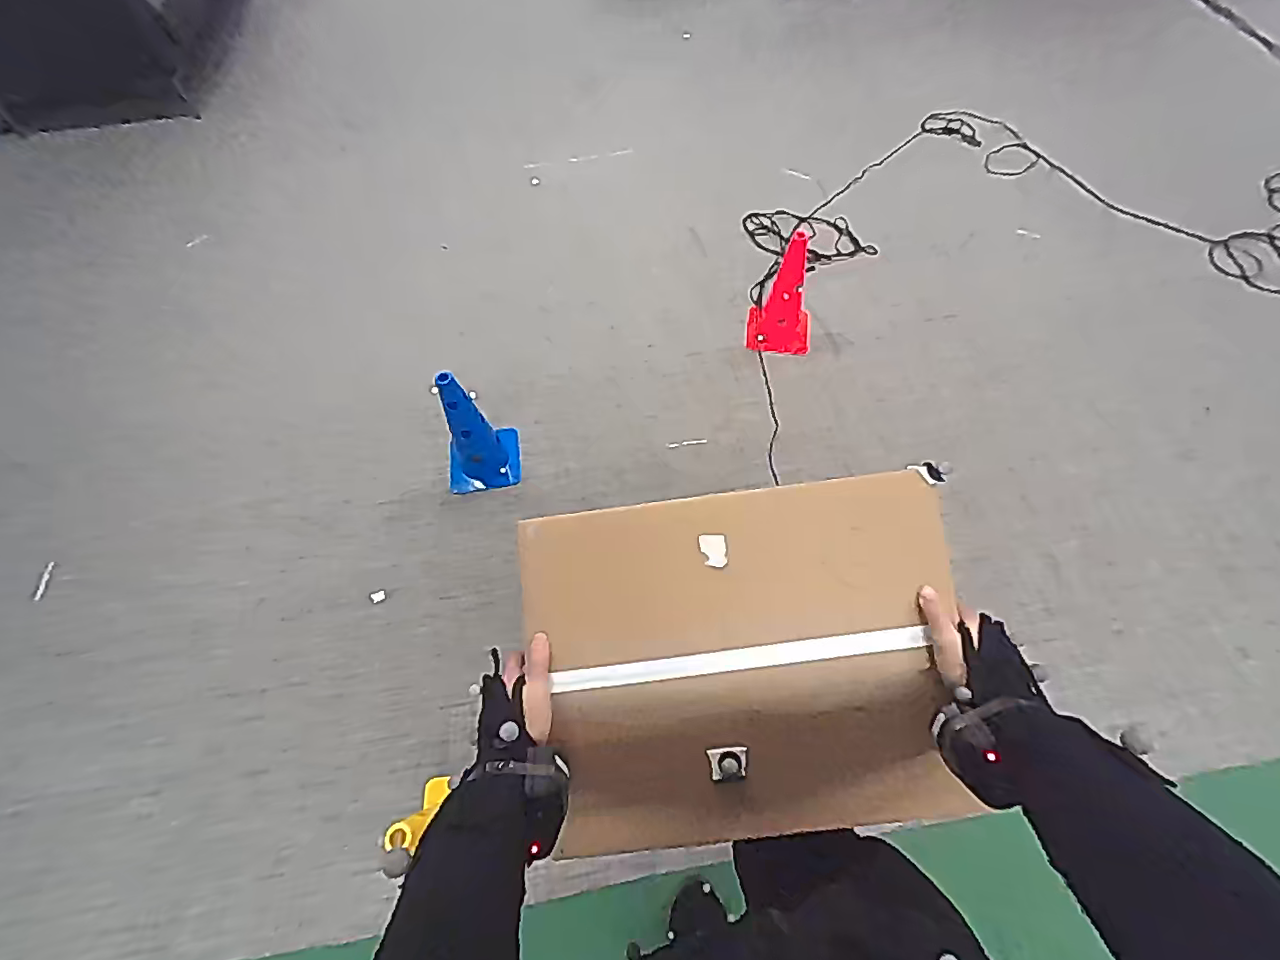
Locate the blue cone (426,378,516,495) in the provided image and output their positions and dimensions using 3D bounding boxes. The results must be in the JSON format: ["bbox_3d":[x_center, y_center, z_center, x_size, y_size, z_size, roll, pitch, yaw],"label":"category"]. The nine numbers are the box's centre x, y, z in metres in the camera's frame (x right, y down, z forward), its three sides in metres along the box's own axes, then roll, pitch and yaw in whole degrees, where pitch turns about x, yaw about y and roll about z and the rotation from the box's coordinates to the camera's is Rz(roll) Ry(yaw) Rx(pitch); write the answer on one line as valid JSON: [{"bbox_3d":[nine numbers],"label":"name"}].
[{"bbox_3d":[-0.463,-0.135,1.426,0.192,0.380,0.193,-9,59,-1],"label":"blue cone"}]

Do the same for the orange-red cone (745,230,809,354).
[{"bbox_3d":[0.443,-0.580,1.618,0.199,0.360,0.198,9,61,7],"label":"orange-red cone"}]
